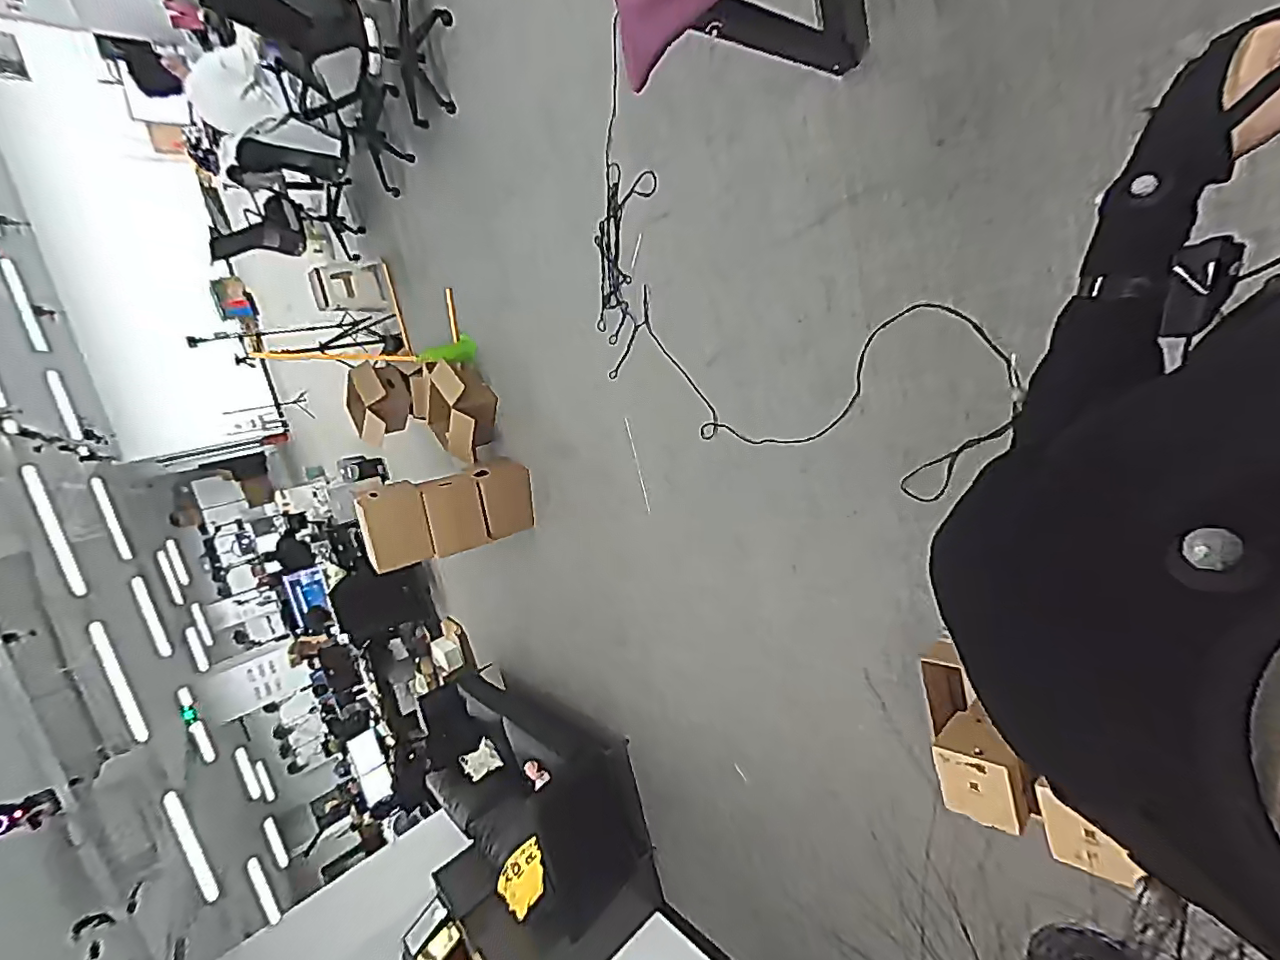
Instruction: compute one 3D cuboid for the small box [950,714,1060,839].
[{"bbox_3d":[0.886,0.706,1.307,0.168,0.176,0.179,-9,99,52],"label":"small box"}]
